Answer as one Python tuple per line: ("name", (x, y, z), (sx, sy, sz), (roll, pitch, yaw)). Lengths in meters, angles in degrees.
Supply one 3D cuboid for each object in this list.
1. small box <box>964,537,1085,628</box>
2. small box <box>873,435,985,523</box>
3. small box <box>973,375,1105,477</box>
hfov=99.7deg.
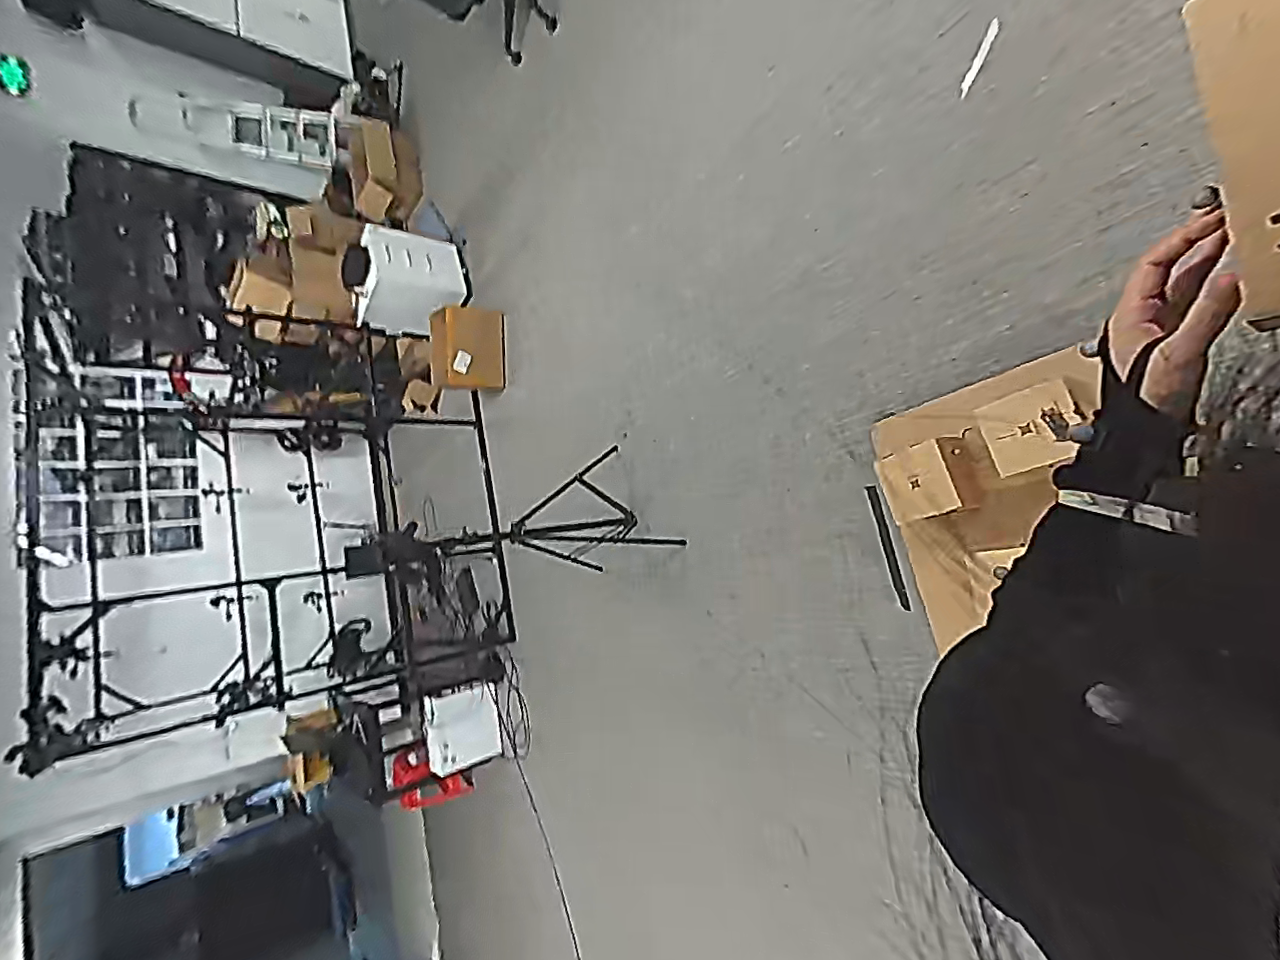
("small box", (0.867, 0.227, 1.219), (0.168, 0.176, 0.179), (-19, 80, 48))
("small box", (0.729, -0.003, 1.365), (0.168, 0.176, 0.179), (-32, 70, 47))
("small box", (0.875, -0.115, 1.181), (0.179, 0.176, 0.168), (-29, 71, 47))
